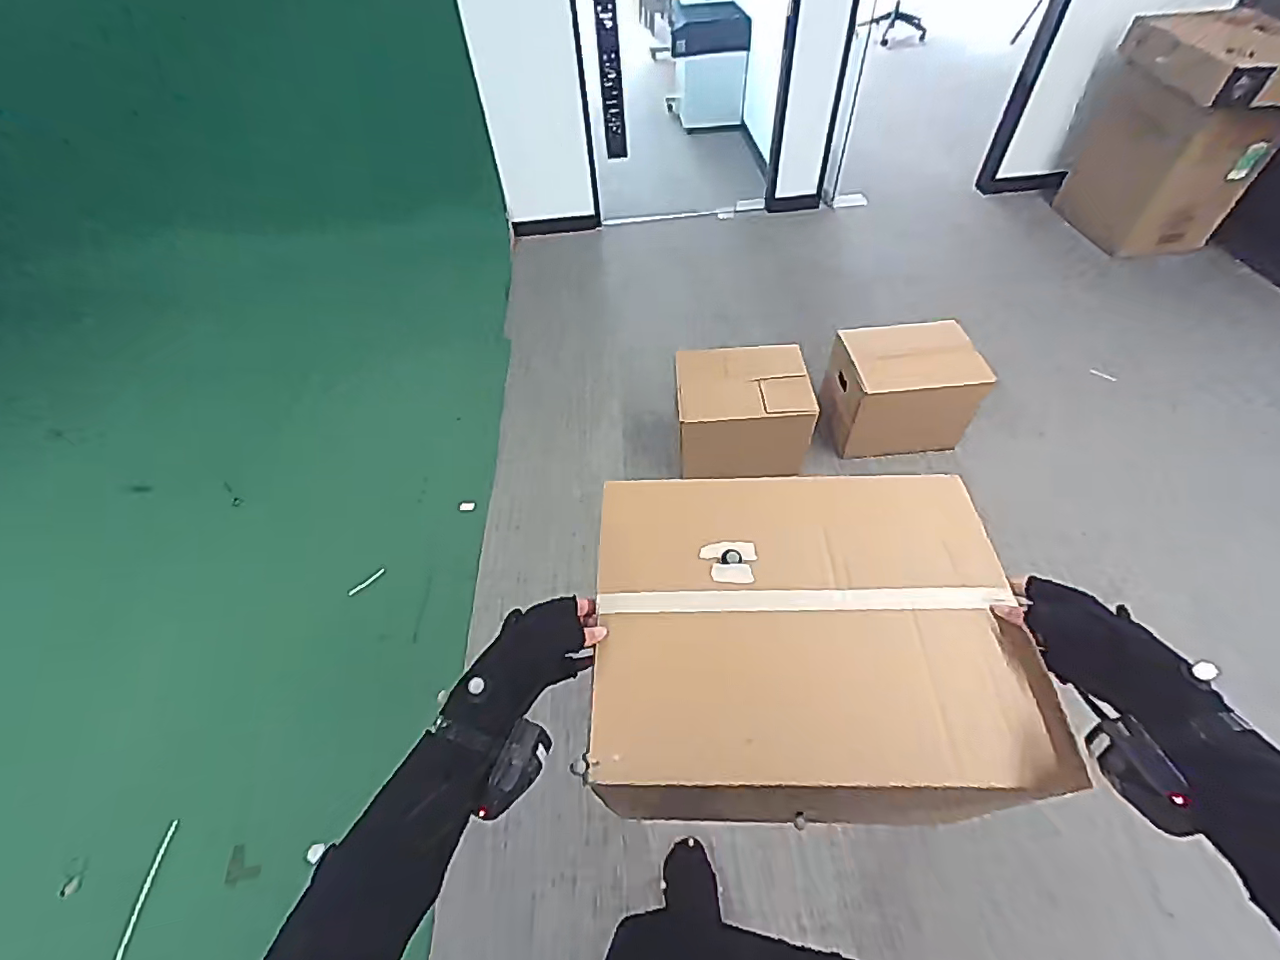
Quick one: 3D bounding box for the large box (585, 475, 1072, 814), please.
[{"bbox_3d":[0.165,0.211,0.650,0.408,0.320,0.320,-1,53,4],"label":"large box"}]
